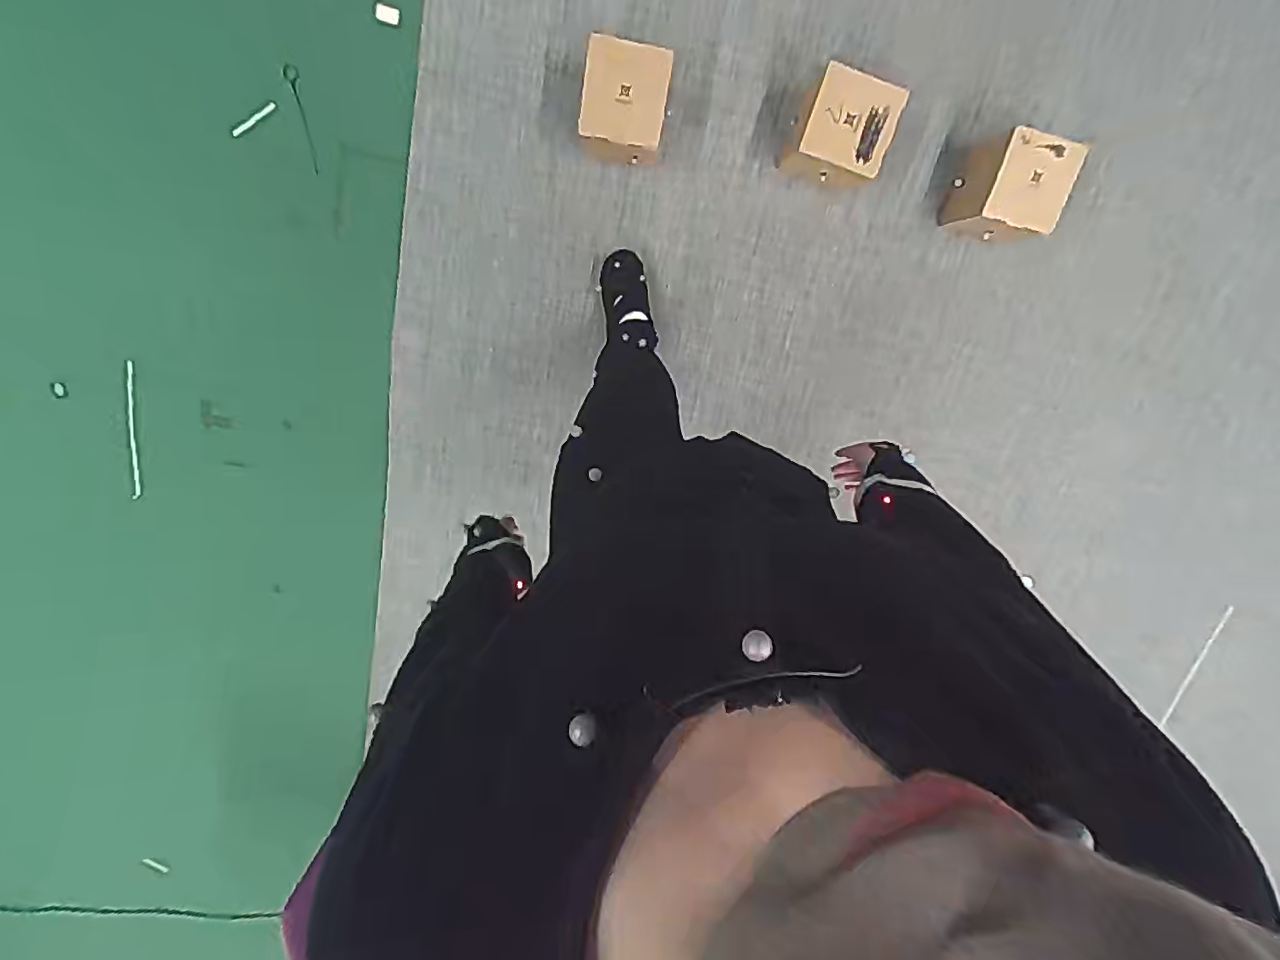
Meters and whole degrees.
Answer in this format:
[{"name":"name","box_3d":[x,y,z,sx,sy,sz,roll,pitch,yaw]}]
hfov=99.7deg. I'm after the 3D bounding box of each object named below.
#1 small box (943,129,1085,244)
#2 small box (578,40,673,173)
[{"name":"small box","box_3d":[0.813,-0.639,1.201,0.168,0.176,0.179,13,107,-5]},{"name":"small box","box_3d":[-0.031,-0.777,1.148,0.168,0.176,0.179,10,106,-5]}]
